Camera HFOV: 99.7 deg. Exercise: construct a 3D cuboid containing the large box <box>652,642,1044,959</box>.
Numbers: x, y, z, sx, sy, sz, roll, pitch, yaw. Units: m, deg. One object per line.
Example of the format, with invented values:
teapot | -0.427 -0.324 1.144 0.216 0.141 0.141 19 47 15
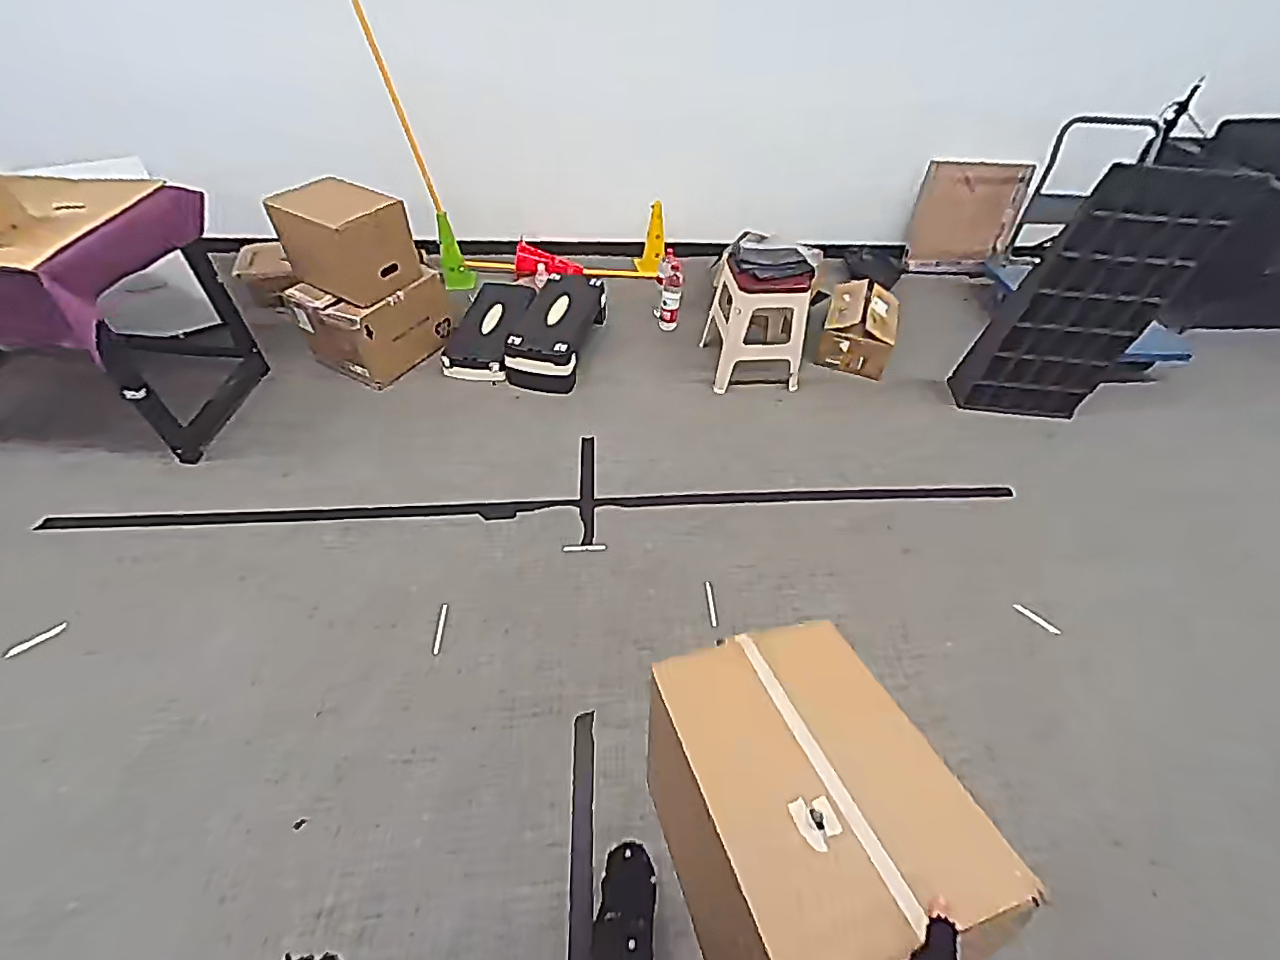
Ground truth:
large box | 0.230 0.514 0.782 0.320 0.320 0.408 -8 33 -16
